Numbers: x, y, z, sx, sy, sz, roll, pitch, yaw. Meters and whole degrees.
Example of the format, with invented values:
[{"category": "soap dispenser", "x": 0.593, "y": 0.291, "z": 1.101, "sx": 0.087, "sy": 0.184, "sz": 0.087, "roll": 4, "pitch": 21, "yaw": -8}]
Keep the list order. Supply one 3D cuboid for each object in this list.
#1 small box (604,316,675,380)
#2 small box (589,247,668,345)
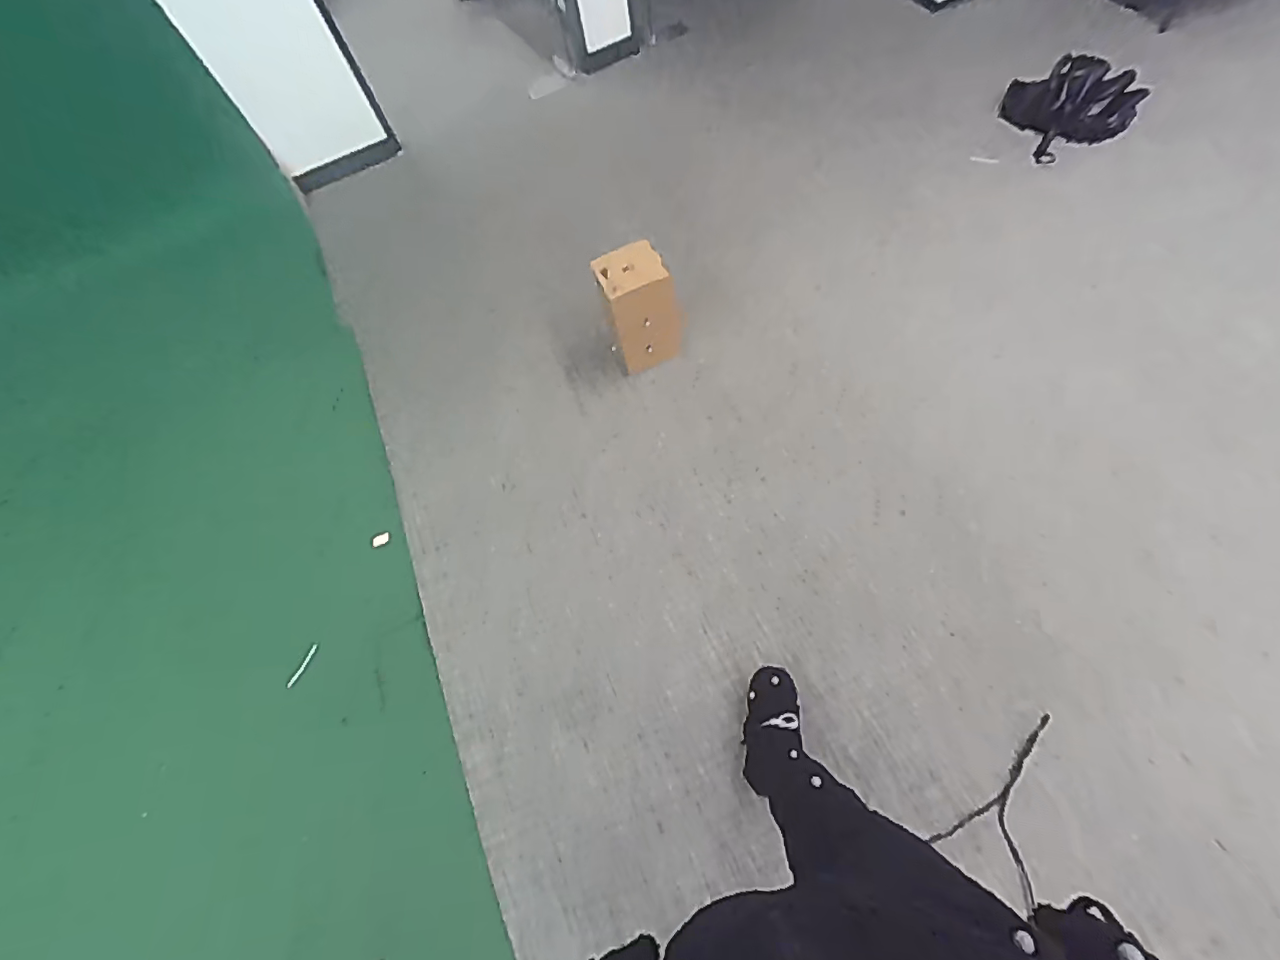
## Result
[{"category": "small box", "x": -0.001, "y": -0.449, "z": 1.693, "sx": 0.179, "sy": 0.176, "sz": 0.168, "roll": -26, "pitch": 63, "yaw": -6}, {"category": "small box", "x": -0.026, "y": -0.522, "z": 1.549, "sx": 0.179, "sy": 0.176, "sz": 0.168, "roll": -23, "pitch": 62, "yaw": -3}]
